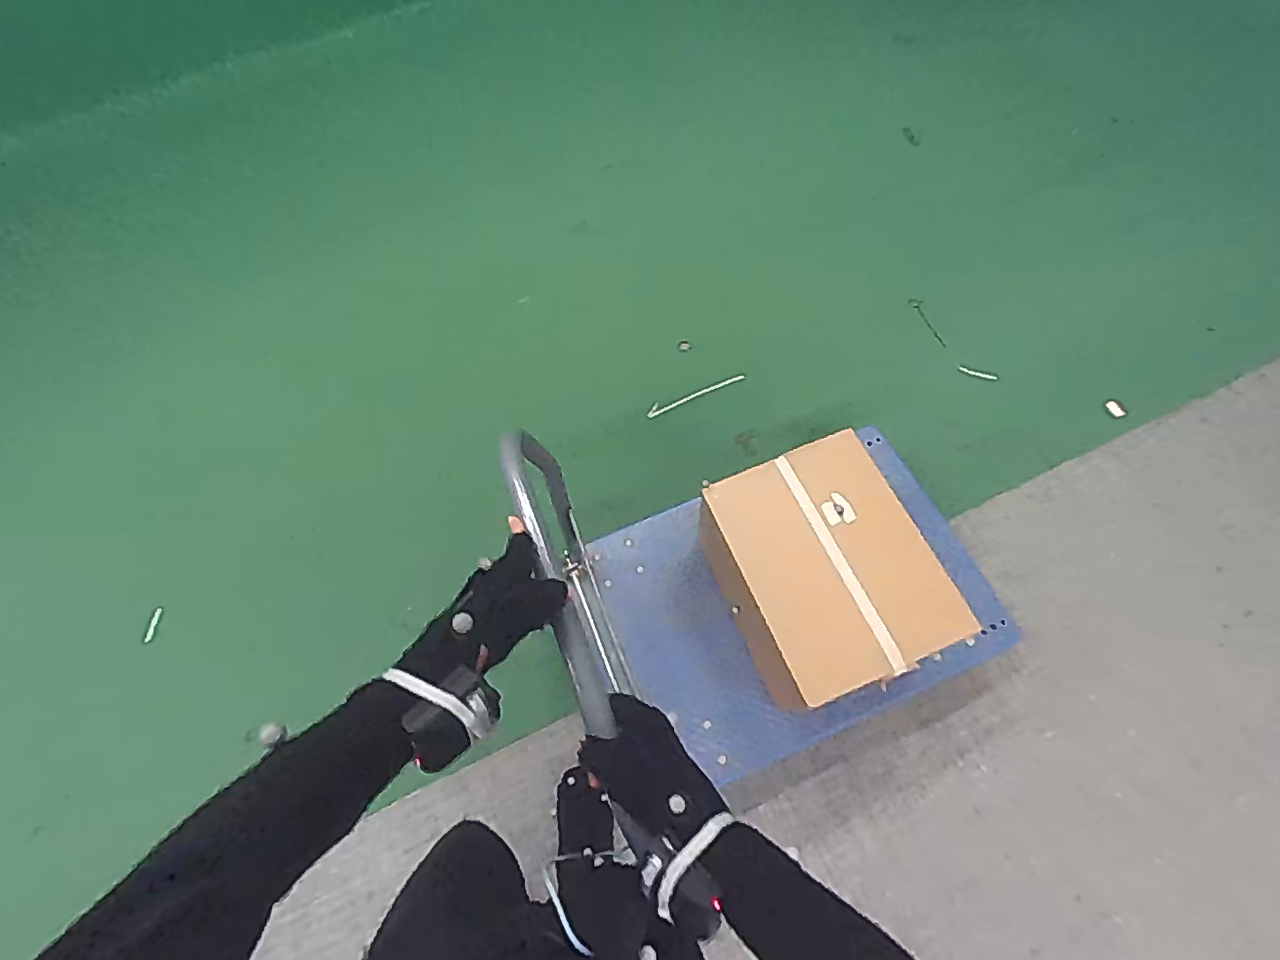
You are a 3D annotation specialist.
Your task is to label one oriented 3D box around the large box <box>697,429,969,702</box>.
[{"bbox_3d":[0.335,0.182,1.075,0.320,0.320,0.408,-21,66,-5],"label":"large box"}]
